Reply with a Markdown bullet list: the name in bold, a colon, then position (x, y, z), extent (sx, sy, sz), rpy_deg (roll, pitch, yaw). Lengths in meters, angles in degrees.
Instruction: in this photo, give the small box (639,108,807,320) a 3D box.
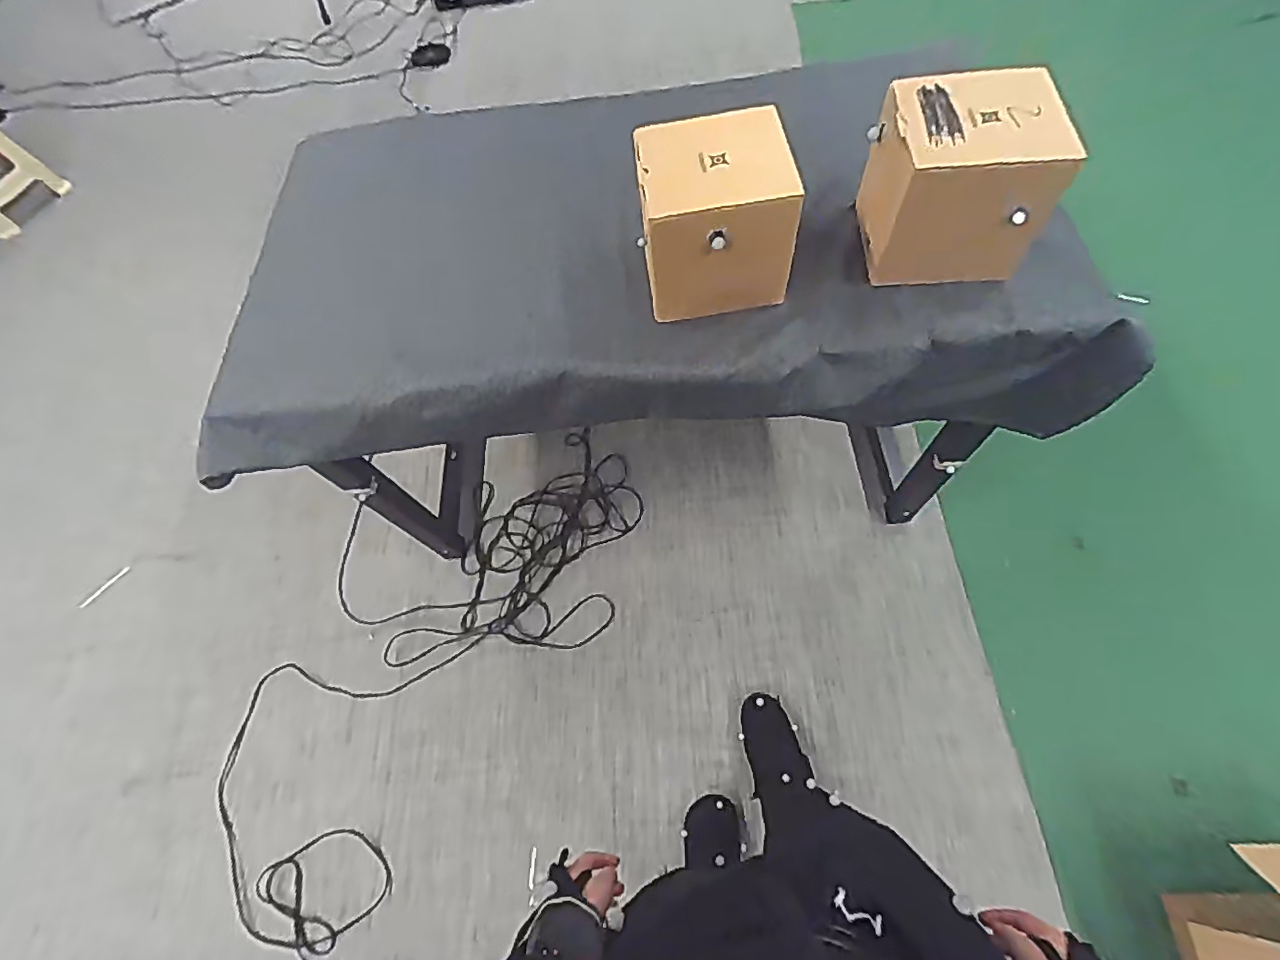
- **small box**: position (0.099, -0.332, 0.697), extent (0.179, 0.176, 0.168), rpy_deg (-8, 64, 4)
